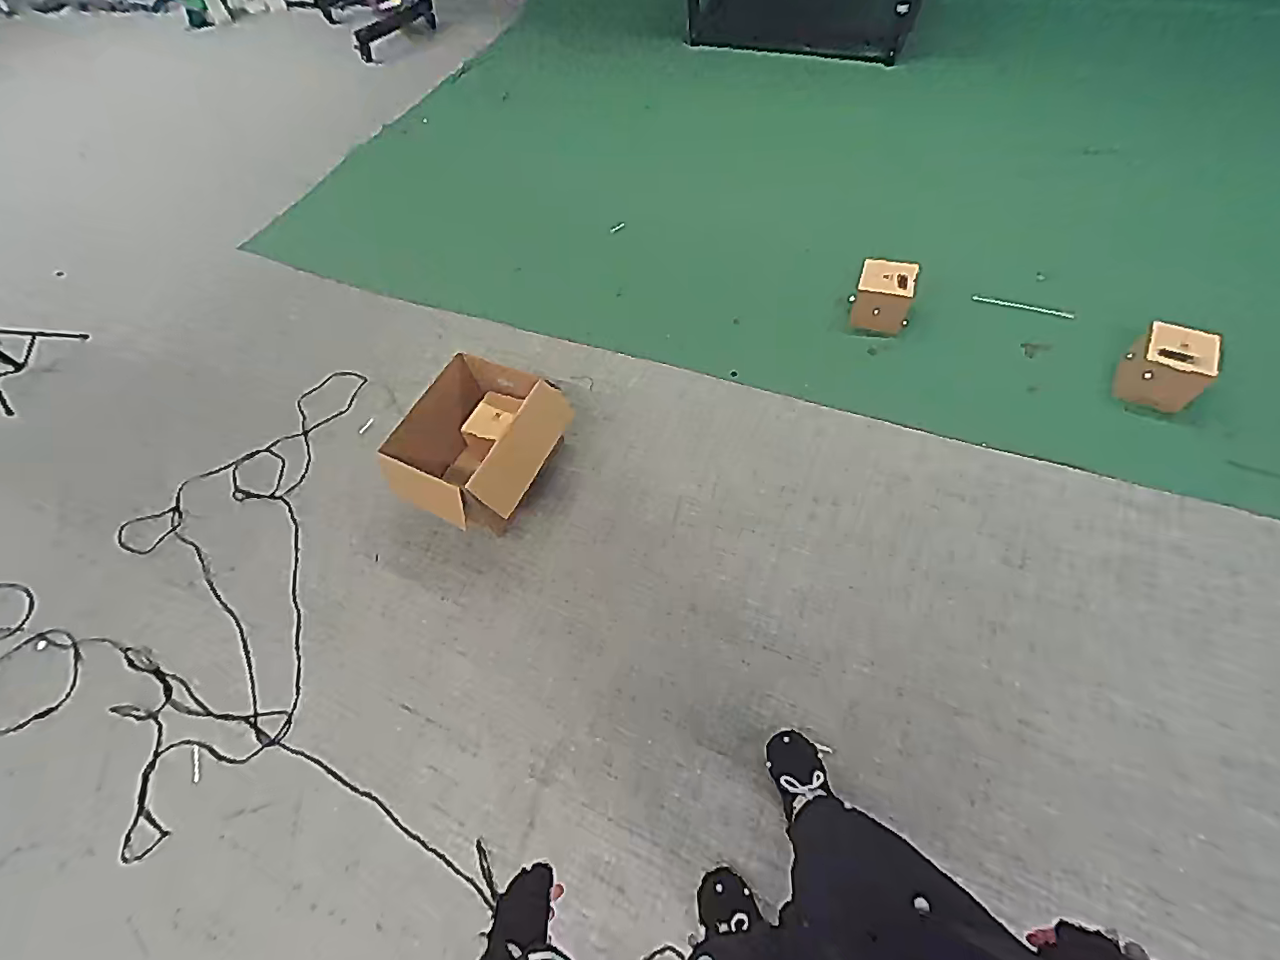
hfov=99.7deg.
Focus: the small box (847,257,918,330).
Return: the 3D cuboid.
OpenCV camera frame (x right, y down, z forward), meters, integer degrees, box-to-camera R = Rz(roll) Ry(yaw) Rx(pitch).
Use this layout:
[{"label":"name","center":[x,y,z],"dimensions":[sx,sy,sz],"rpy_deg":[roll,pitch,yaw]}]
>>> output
[{"label":"small box","center":[0.842,-0.647,1.887],"dimensions":[0.179,0.176,0.168],"rpy_deg":[15,62,17]}]
